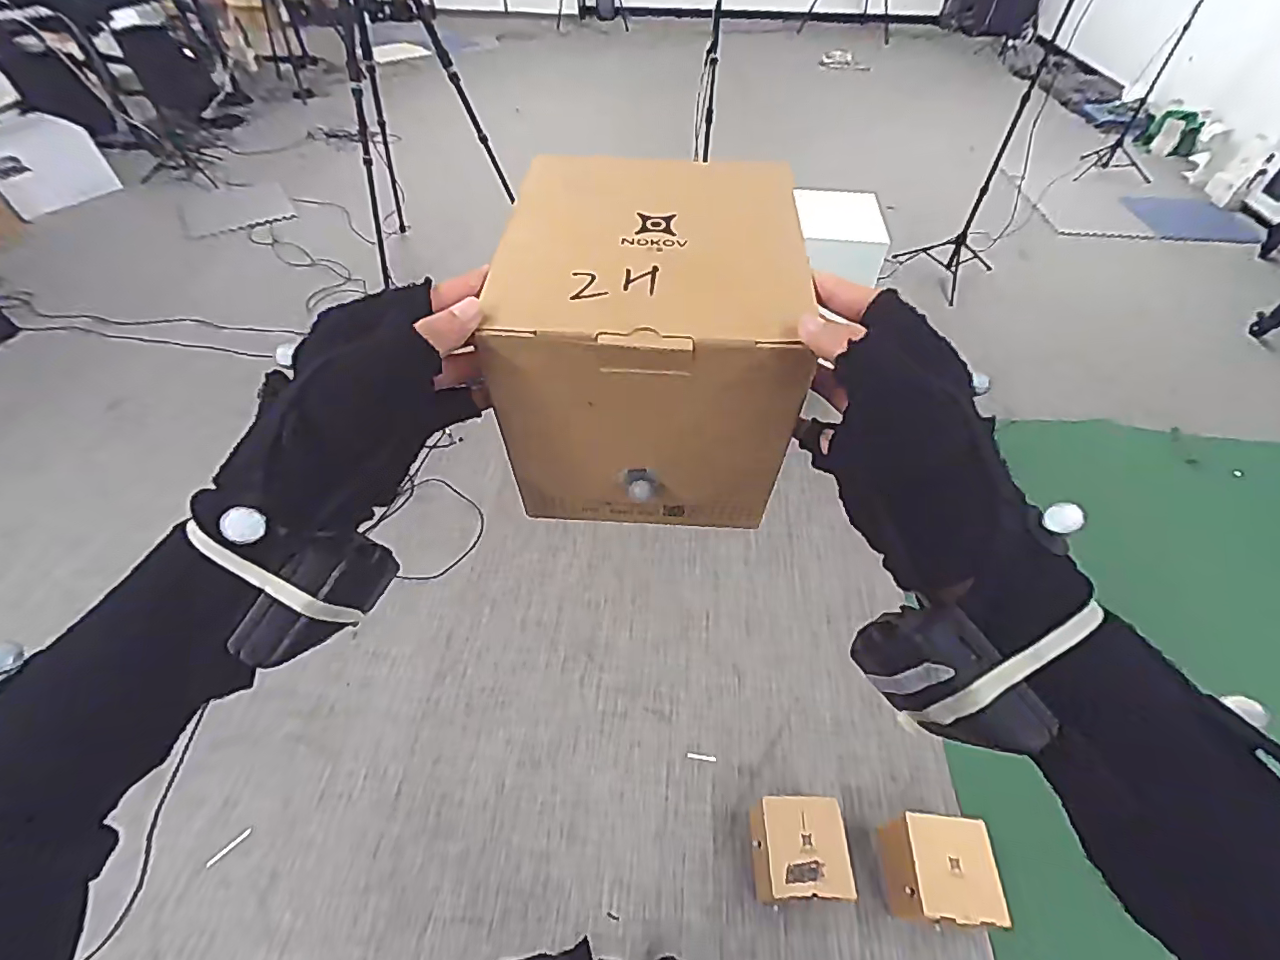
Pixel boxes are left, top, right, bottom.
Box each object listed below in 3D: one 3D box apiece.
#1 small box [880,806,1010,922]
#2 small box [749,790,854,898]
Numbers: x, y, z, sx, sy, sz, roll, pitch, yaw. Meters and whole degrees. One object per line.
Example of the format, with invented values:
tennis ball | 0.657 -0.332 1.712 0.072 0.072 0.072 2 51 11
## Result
small box | 0.627 0.812 1.142 0.168 0.176 0.179 4 50 3
small box | 0.336 0.783 1.159 0.168 0.176 0.179 2 49 0
